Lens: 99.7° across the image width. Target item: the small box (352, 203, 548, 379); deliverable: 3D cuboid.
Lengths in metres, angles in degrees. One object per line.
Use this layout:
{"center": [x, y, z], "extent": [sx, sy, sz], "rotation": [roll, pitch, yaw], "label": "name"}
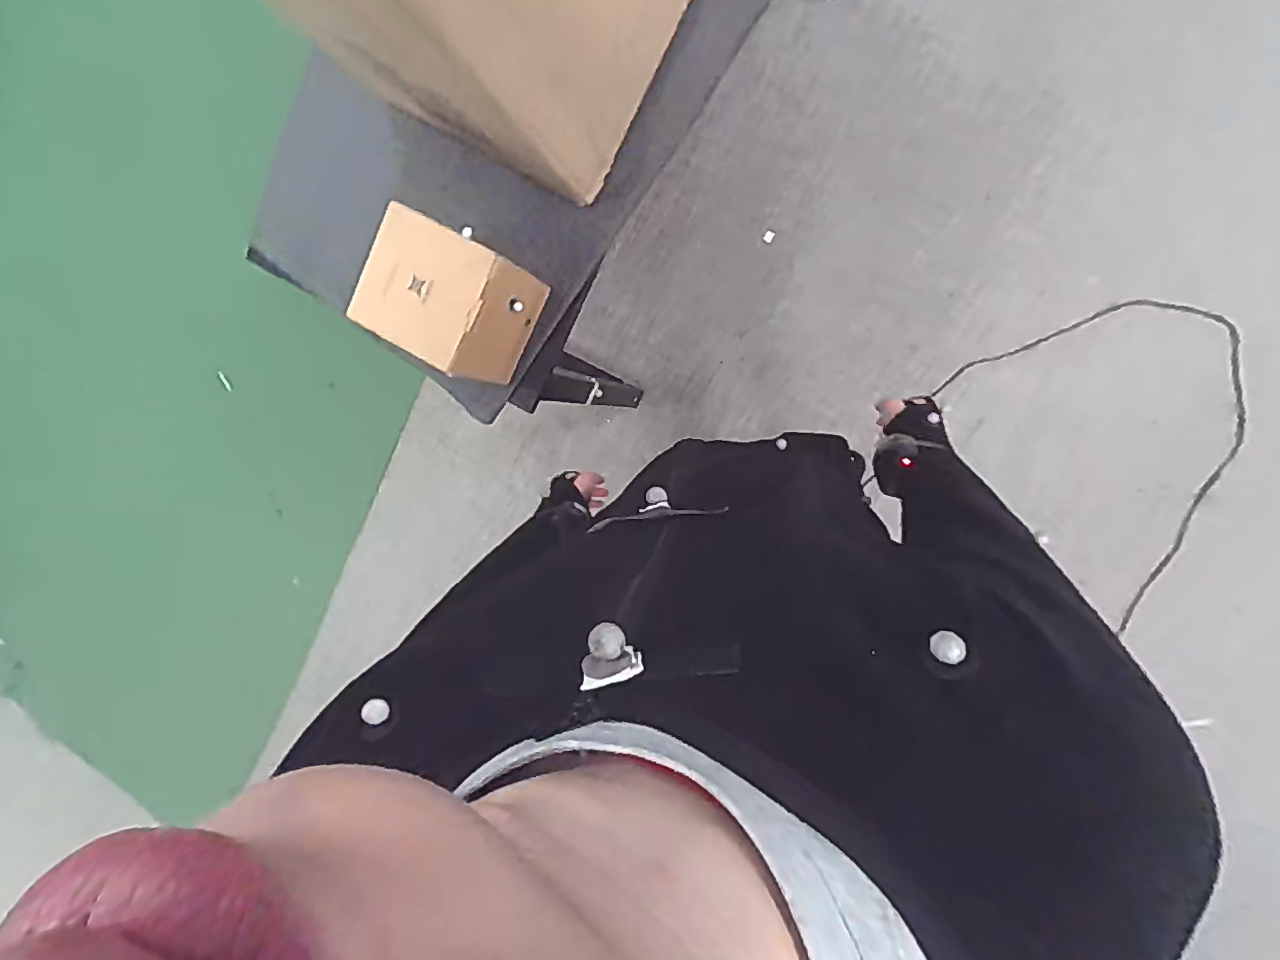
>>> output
{"center": [-0.262, -0.258, 0.782], "extent": [0.179, 0.176, 0.168], "rotation": [29, 99, 11], "label": "small box"}
